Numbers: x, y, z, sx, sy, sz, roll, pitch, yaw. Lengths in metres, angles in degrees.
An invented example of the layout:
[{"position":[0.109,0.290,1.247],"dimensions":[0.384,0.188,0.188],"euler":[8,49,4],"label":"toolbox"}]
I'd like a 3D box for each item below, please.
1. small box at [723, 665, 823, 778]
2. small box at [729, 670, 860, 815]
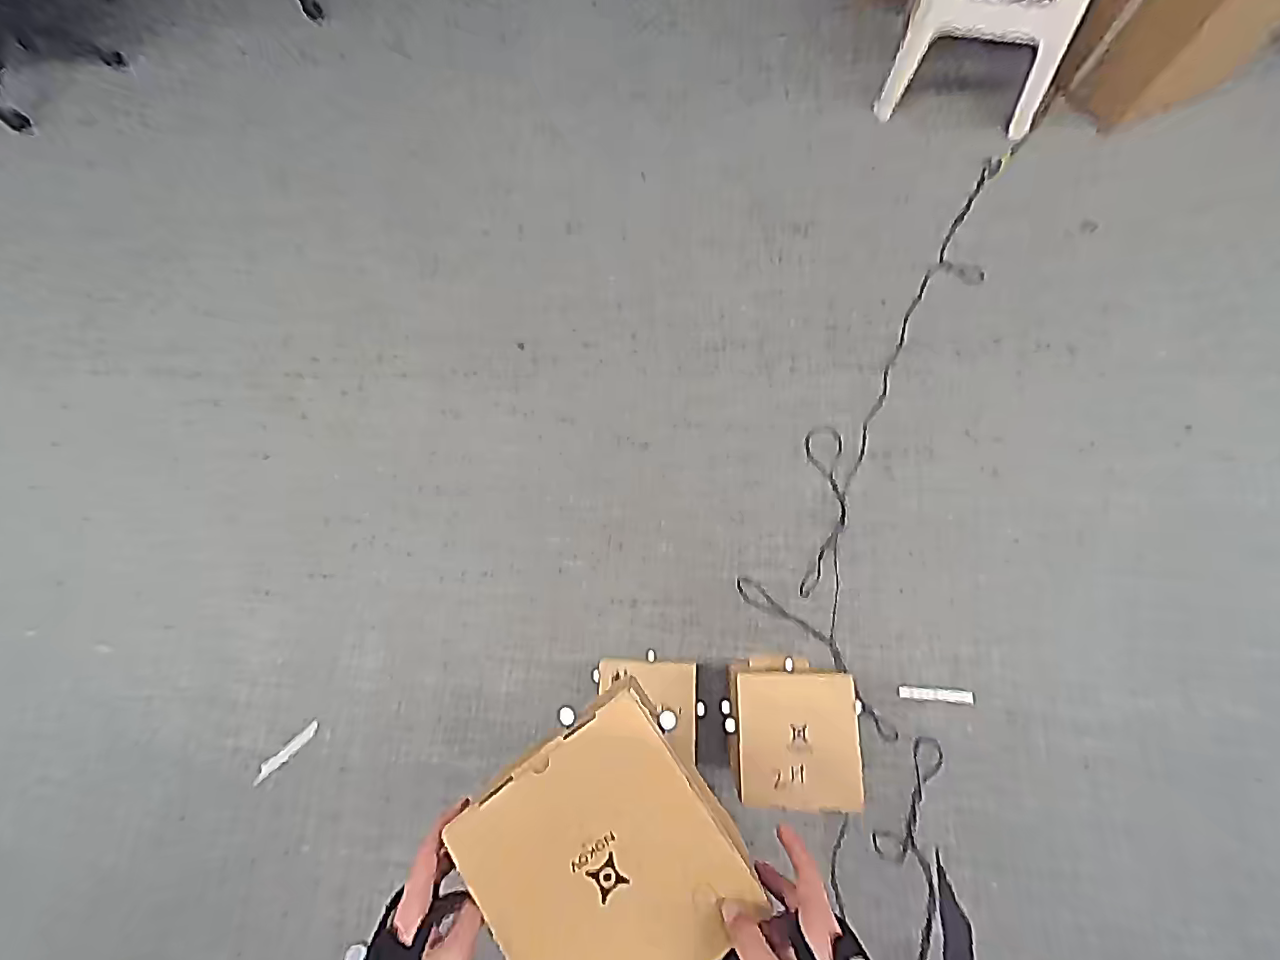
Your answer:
[{"position":[0.239,0.436,0.988],"dimensions":[0.168,0.176,0.179],"euler":[1,74,6],"label":"small box"},{"position":[0.224,0.389,0.830],"dimensions":[0.168,0.176,0.179],"euler":[-1,74,6],"label":"small box"}]
